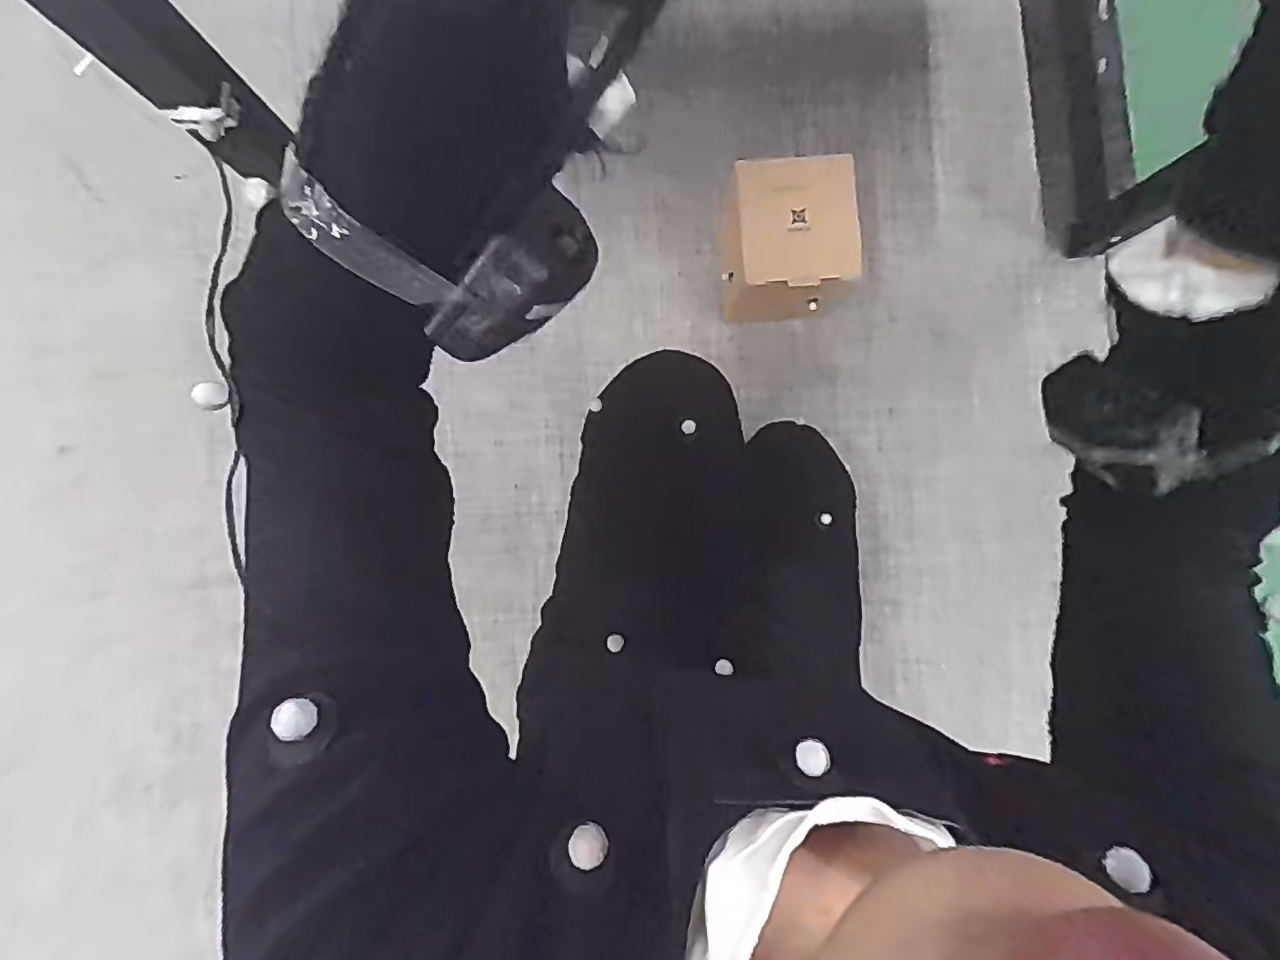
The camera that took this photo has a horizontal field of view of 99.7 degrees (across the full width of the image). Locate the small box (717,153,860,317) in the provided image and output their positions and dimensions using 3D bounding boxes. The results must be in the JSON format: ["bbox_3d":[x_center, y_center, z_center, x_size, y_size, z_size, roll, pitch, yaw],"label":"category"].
[{"bbox_3d":[0.216,-0.358,0.824,0.168,0.176,0.179,-4,87,-1],"label":"small box"}]
